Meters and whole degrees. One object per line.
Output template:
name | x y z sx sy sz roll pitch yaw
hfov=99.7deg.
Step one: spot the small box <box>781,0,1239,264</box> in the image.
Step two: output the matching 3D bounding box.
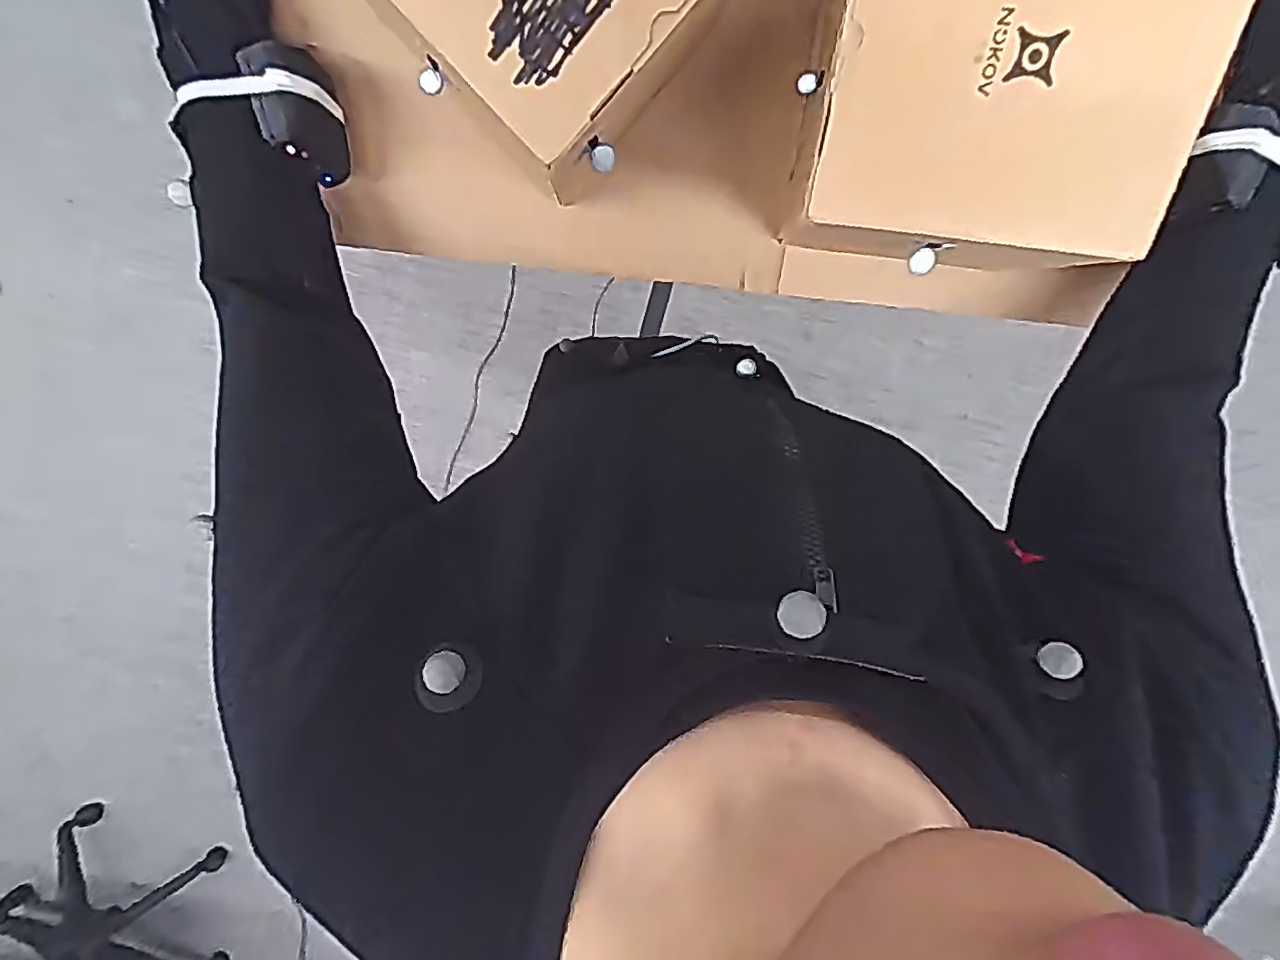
small box | 0.196 -0.234 0.337 0.179 0.176 0.168 12 111 7
